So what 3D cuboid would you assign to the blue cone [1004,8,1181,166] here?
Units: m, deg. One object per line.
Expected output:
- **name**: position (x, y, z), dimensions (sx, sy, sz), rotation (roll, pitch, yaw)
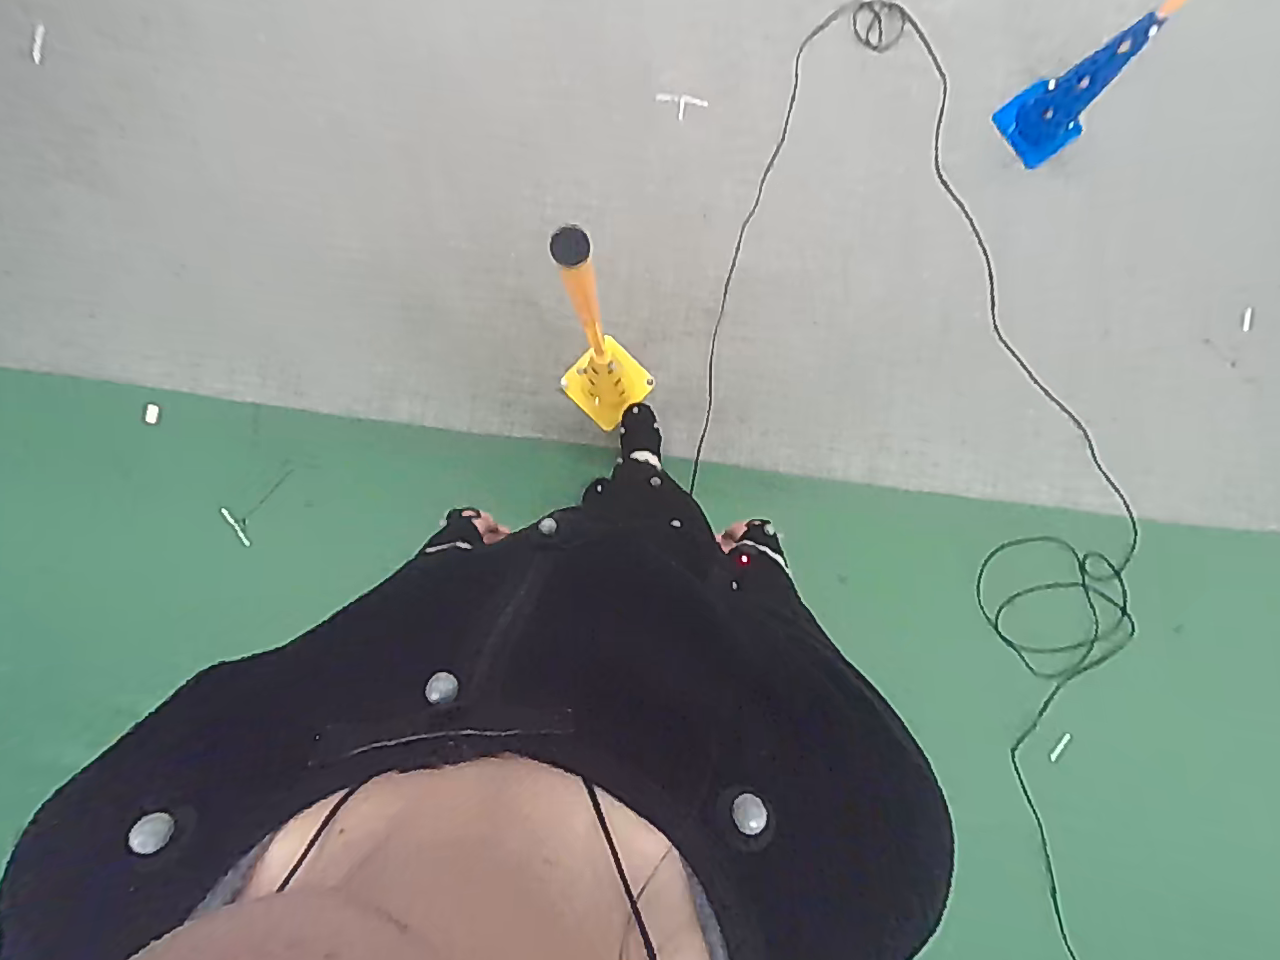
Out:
- **blue cone**: position (1.147, -1.011, 1.361), dimensions (0.193, 0.380, 0.192), rotation (-38, 91, -4)
